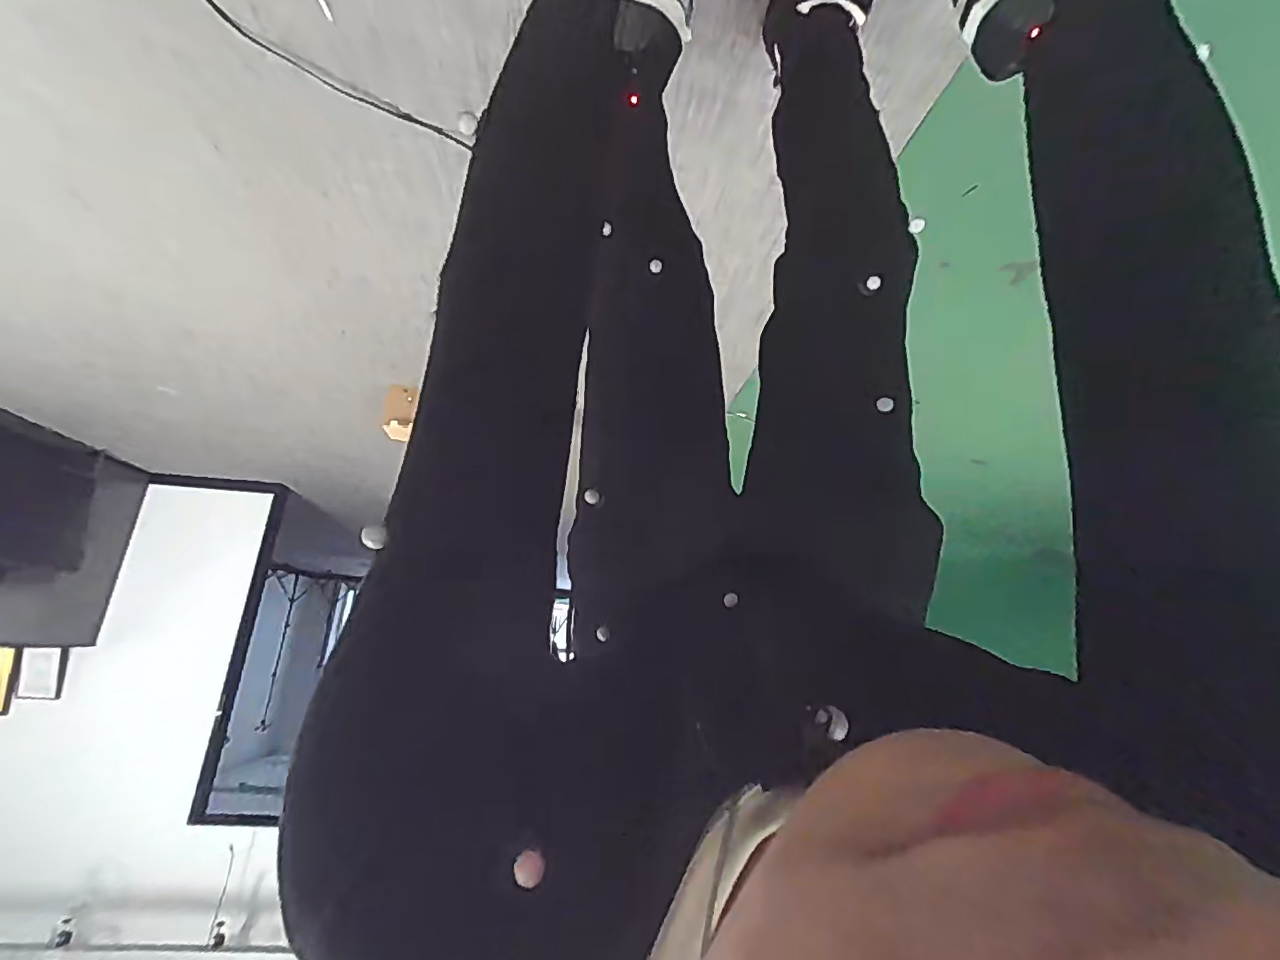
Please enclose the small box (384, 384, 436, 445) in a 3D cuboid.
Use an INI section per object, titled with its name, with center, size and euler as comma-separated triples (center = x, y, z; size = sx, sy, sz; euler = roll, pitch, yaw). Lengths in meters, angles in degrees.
[small box]
center = -0.903, -0.257, 2.138
size = 0.168, 0.176, 0.179
euler = 7, 161, -18
